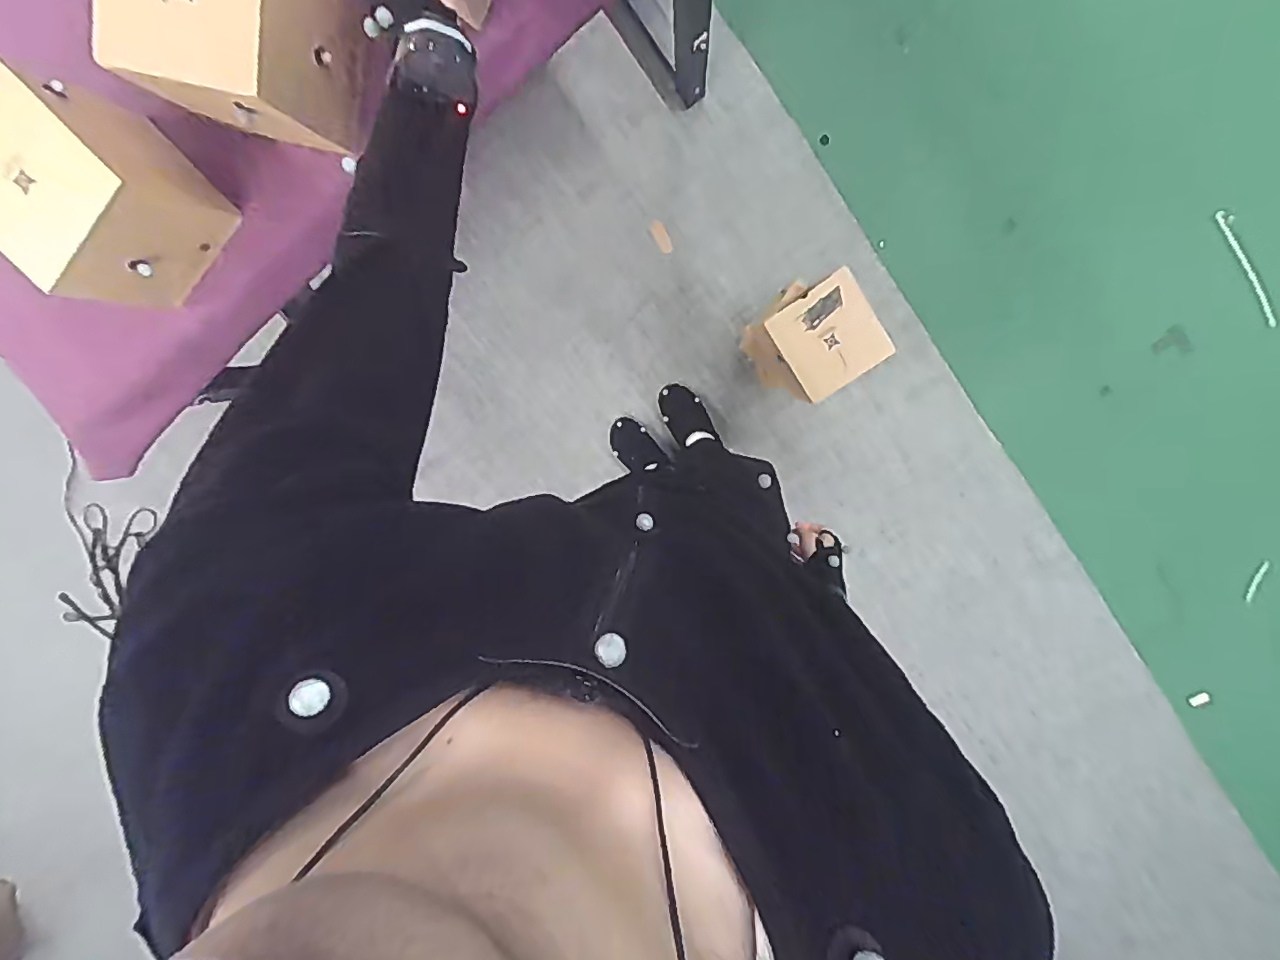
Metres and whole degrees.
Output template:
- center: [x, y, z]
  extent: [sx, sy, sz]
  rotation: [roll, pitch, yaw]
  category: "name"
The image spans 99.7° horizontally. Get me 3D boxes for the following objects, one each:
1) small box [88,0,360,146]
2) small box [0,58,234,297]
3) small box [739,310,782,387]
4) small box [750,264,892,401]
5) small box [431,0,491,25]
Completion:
- center: [-0.437, -0.494, 0.591]
  extent: [0.179, 0.176, 0.168]
  rotation: [13, 104, 1]
  category: "small box"
- center: [-0.650, -0.339, 0.647]
  extent: [0.168, 0.176, 0.179]
  rotation: [-43, 96, 12]
  category: "small box"
- center: [0.351, -0.342, 1.327]
  extent: [0.179, 0.176, 0.168]
  rotation: [-25, 101, 10]
  category: "small box"
- center: [0.324, -0.268, 1.007]
  extent: [0.168, 0.176, 0.179]
  rotation: [-33, 101, 10]
  category: "small box"
- center: [-0.214, -0.624, 0.536]
  extent: [0.168, 0.176, 0.179]
  rotation: [30, 103, -9]
  category: "small box"
